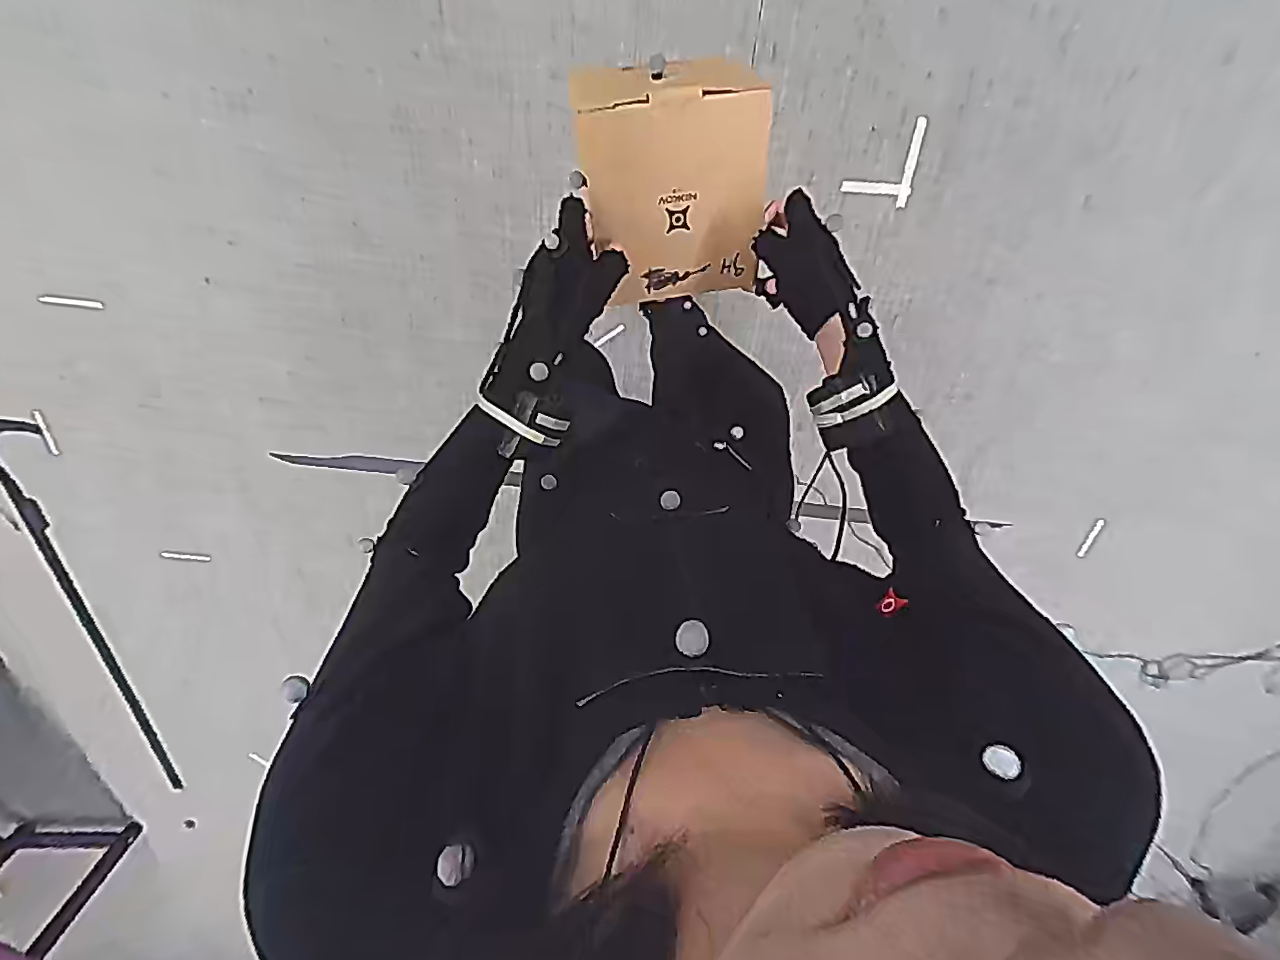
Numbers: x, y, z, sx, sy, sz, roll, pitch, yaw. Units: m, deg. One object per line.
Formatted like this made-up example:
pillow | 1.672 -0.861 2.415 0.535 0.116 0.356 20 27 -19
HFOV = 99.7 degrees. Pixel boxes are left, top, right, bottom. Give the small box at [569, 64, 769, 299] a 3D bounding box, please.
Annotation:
small box | 0.022 -0.314 0.562 0.168 0.176 0.179 -9 134 -3

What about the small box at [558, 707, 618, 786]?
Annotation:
small box | -0.168 0.872 1.779 0.179 0.176 0.168 7 119 -3
